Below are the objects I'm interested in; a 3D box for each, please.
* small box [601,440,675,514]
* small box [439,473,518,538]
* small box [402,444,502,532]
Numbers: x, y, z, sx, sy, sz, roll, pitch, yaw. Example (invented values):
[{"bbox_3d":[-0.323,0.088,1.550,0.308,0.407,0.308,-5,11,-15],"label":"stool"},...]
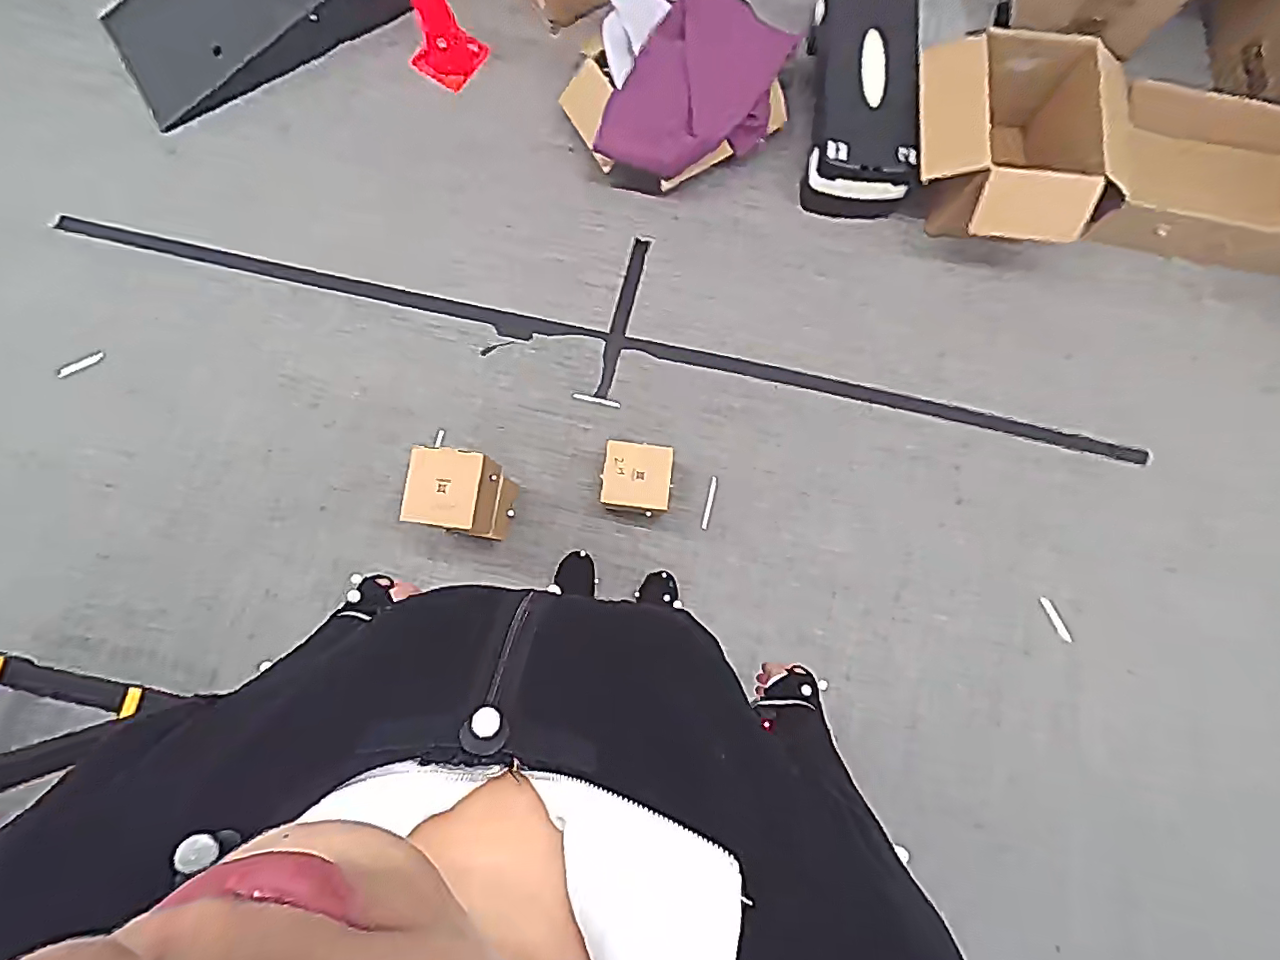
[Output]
[{"bbox_3d":[-0.006,-0.001,1.470,0.179,0.176,0.168,7,81,0],"label":"small box"},{"bbox_3d":[-0.444,0.061,1.453,0.179,0.176,0.168,10,81,0],"label":"small box"},{"bbox_3d":[-0.440,0.025,1.294,0.168,0.176,0.179,7,82,2],"label":"small box"}]
